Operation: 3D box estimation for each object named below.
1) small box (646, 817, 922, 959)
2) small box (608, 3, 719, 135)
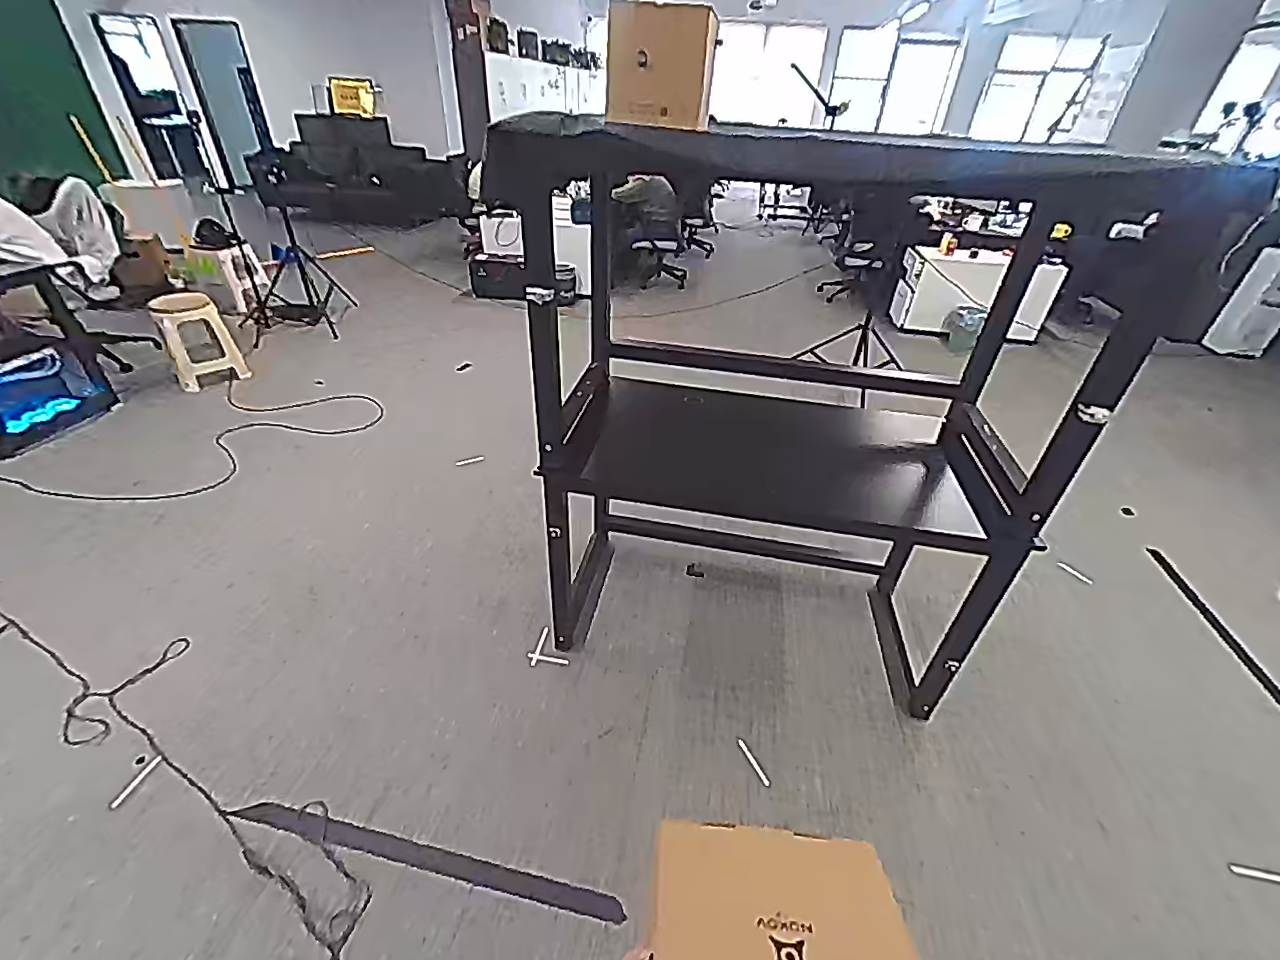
[{"bbox_3d":[0.086,0.368,0.354,0.168,0.176,0.179,5,15,1],"label":"small box"},{"bbox_3d":[0.041,-0.713,0.955,0.168,0.176,0.179,10,33,7],"label":"small box"}]
